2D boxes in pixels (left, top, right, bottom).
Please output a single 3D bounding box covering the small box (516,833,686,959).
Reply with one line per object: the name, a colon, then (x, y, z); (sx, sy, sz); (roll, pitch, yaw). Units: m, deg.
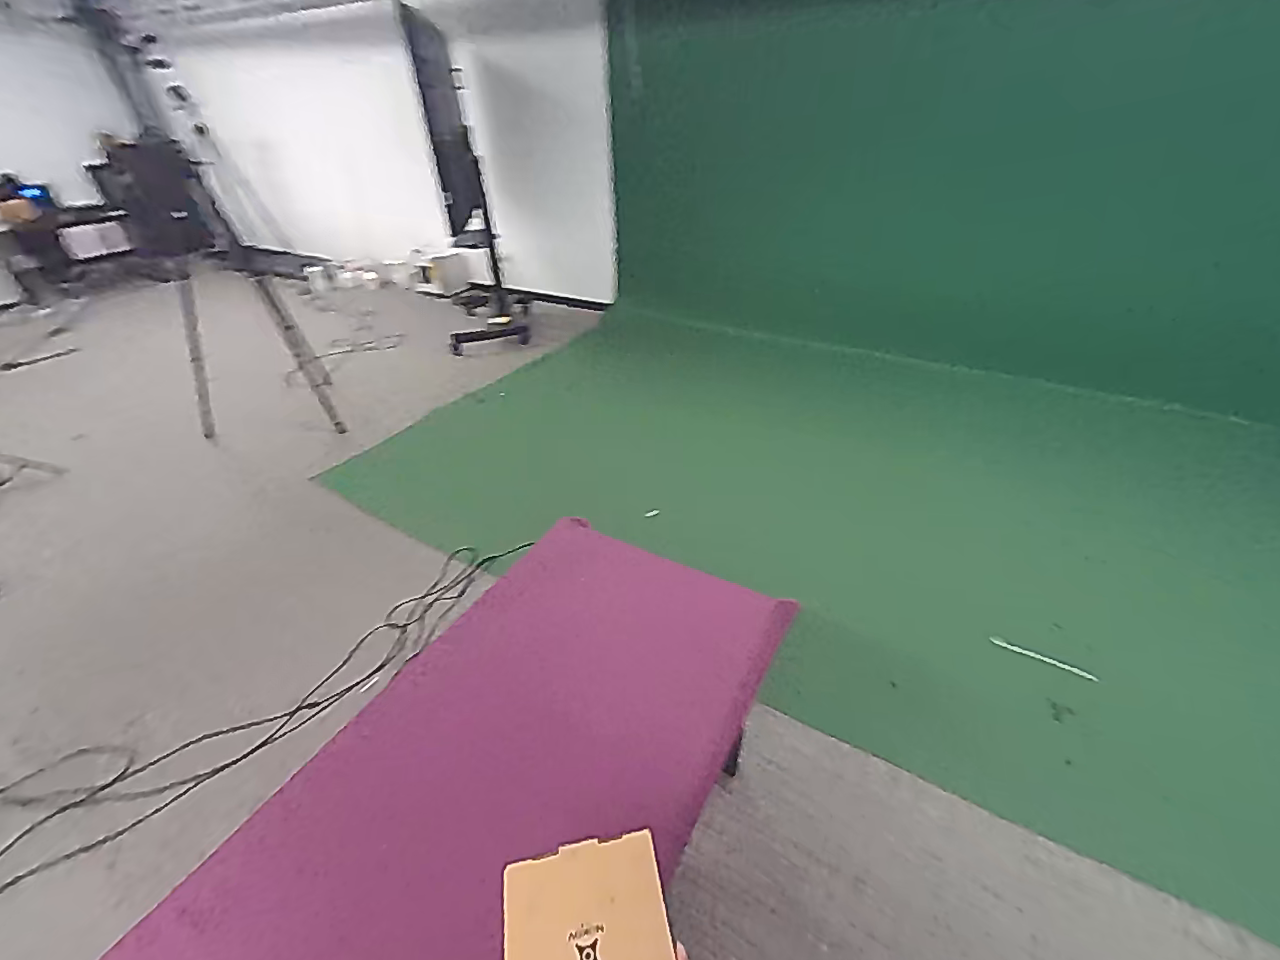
small box: (-0.036, 0.521, 0.579); (0.168, 0.176, 0.179); (-9, 38, -6)
